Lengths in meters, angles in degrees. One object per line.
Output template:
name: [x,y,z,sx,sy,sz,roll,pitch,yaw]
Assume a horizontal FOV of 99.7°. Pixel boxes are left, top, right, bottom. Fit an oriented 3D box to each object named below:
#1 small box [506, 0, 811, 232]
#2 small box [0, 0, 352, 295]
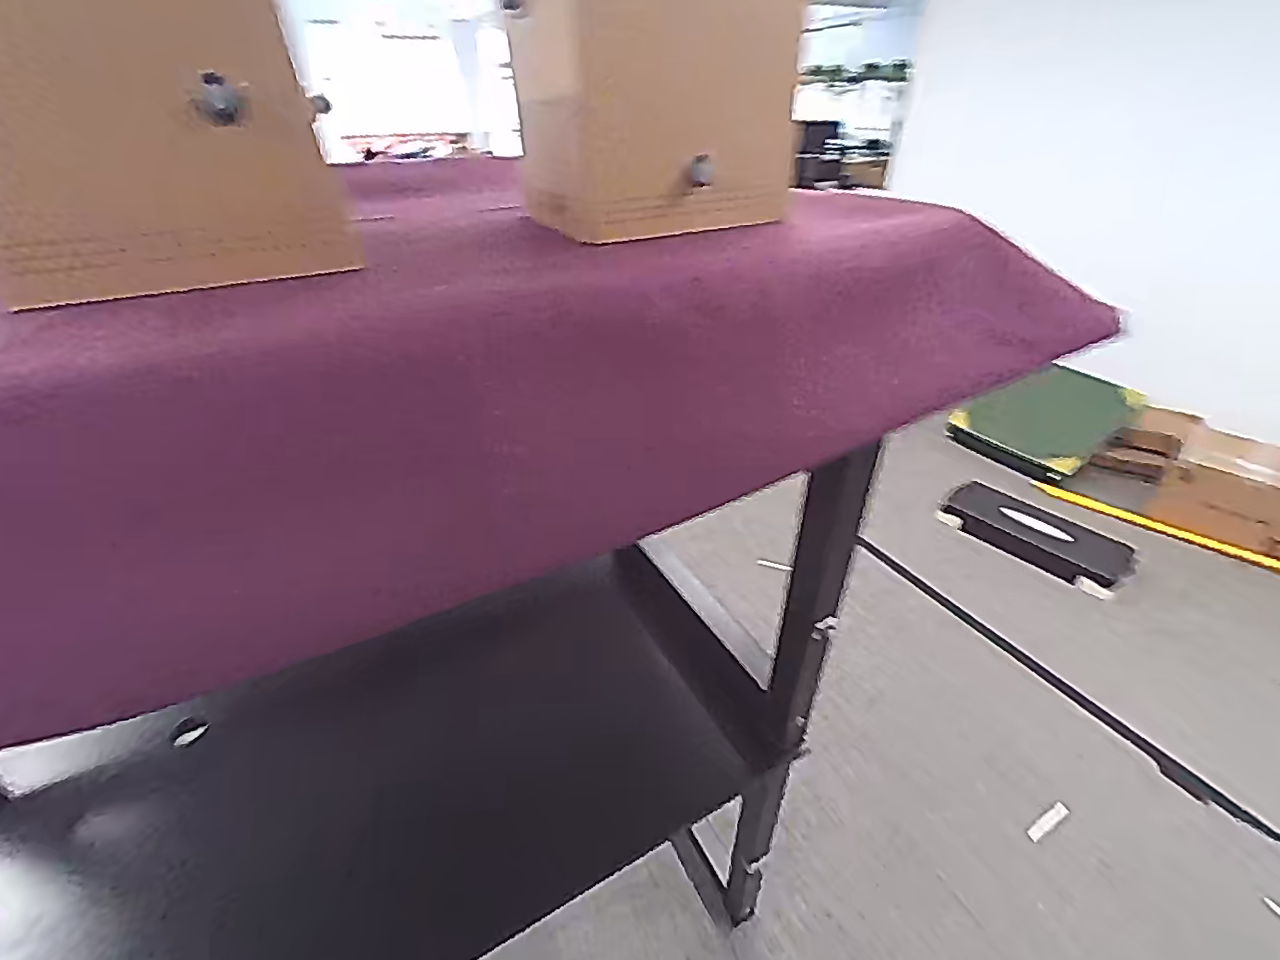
small box: [0.005,-0.301,0.419,0.179,0.176,0.168,-17,36,-21]
small box: [-0.286,-0.223,0.321,0.179,0.176,0.168,-17,37,-21]
